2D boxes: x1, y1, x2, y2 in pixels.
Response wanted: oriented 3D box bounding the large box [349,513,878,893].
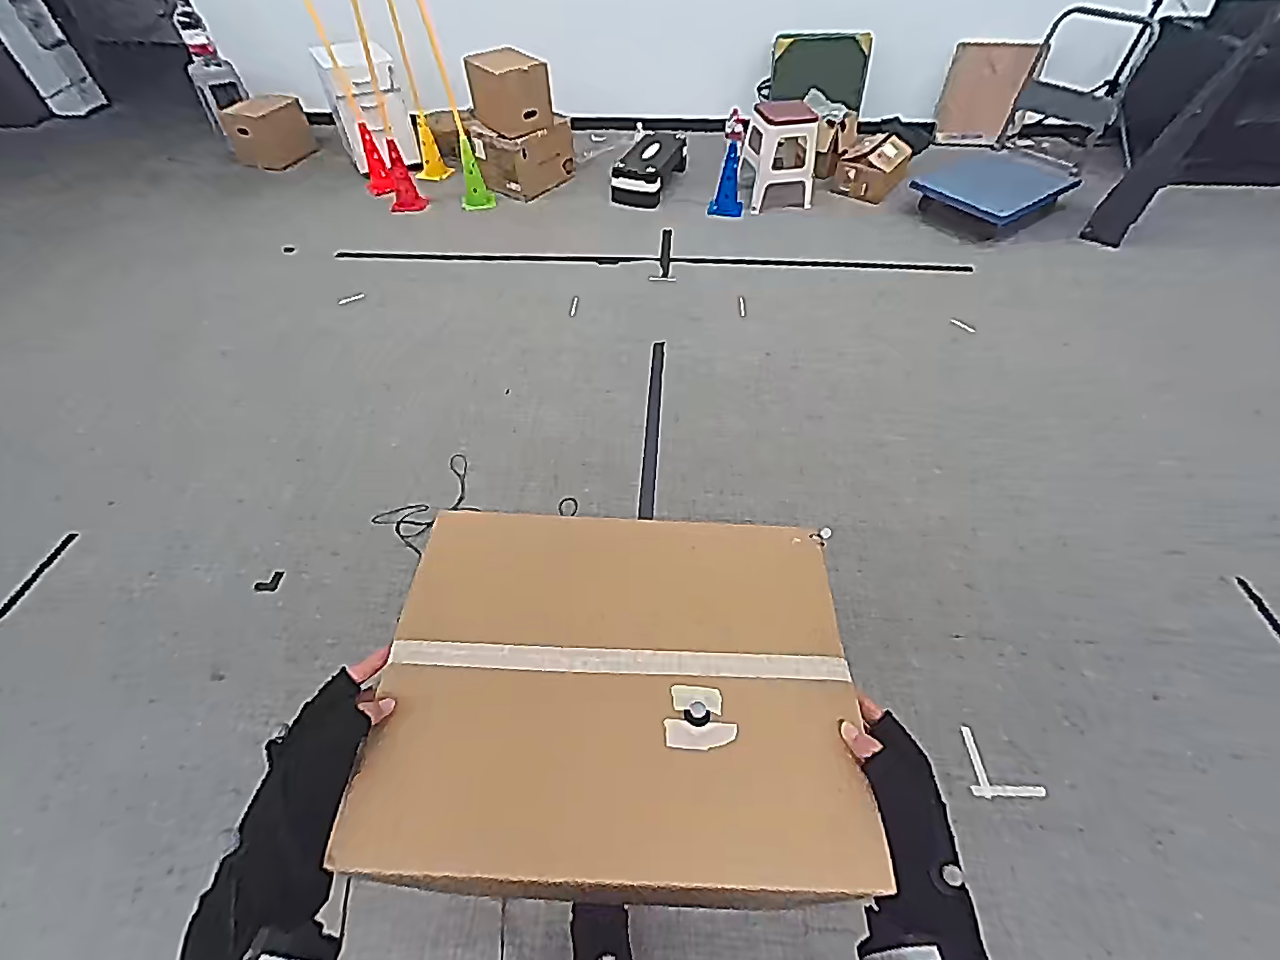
[{"bbox_3d":[-0.022,0.256,0.608,0.408,0.320,0.320,3,50,0],"label":"large box"}]
